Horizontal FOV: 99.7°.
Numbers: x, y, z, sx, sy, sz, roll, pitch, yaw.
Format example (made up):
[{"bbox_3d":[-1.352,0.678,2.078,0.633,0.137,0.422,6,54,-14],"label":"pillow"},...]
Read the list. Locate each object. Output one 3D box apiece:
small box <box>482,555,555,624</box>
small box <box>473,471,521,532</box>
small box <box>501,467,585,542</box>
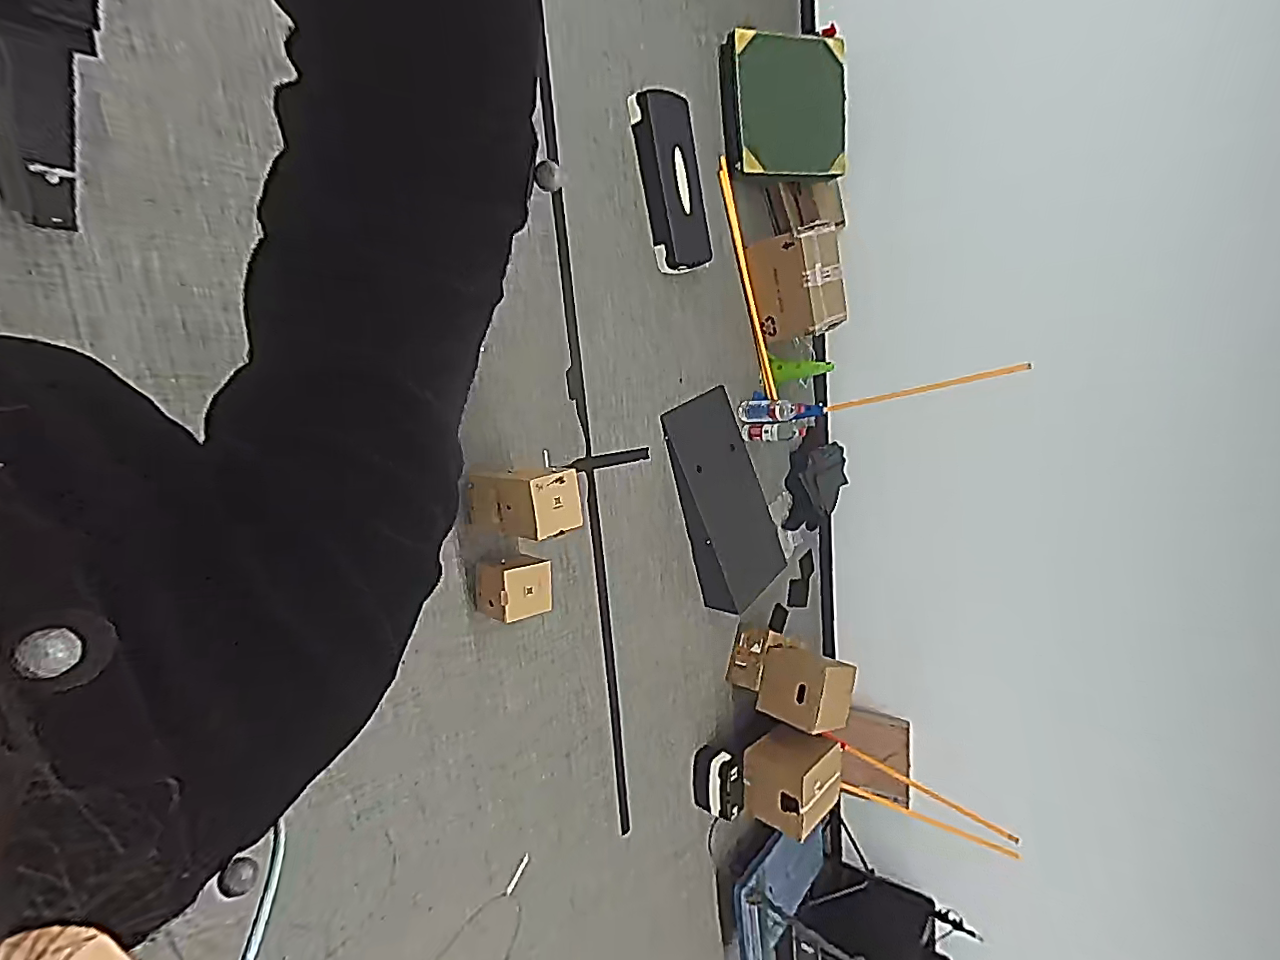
[{"bbox_3d":[-0.392,0.342,1.724,0.179,0.176,0.168,-6,98,-47],"label":"small box"},{"bbox_3d":[-0.406,0.062,1.687,0.179,0.176,0.168,-11,101,-47],"label":"small box"},{"bbox_3d":[-0.284,0.064,1.576,0.168,0.176,0.179,-18,106,-45],"label":"small box"}]
